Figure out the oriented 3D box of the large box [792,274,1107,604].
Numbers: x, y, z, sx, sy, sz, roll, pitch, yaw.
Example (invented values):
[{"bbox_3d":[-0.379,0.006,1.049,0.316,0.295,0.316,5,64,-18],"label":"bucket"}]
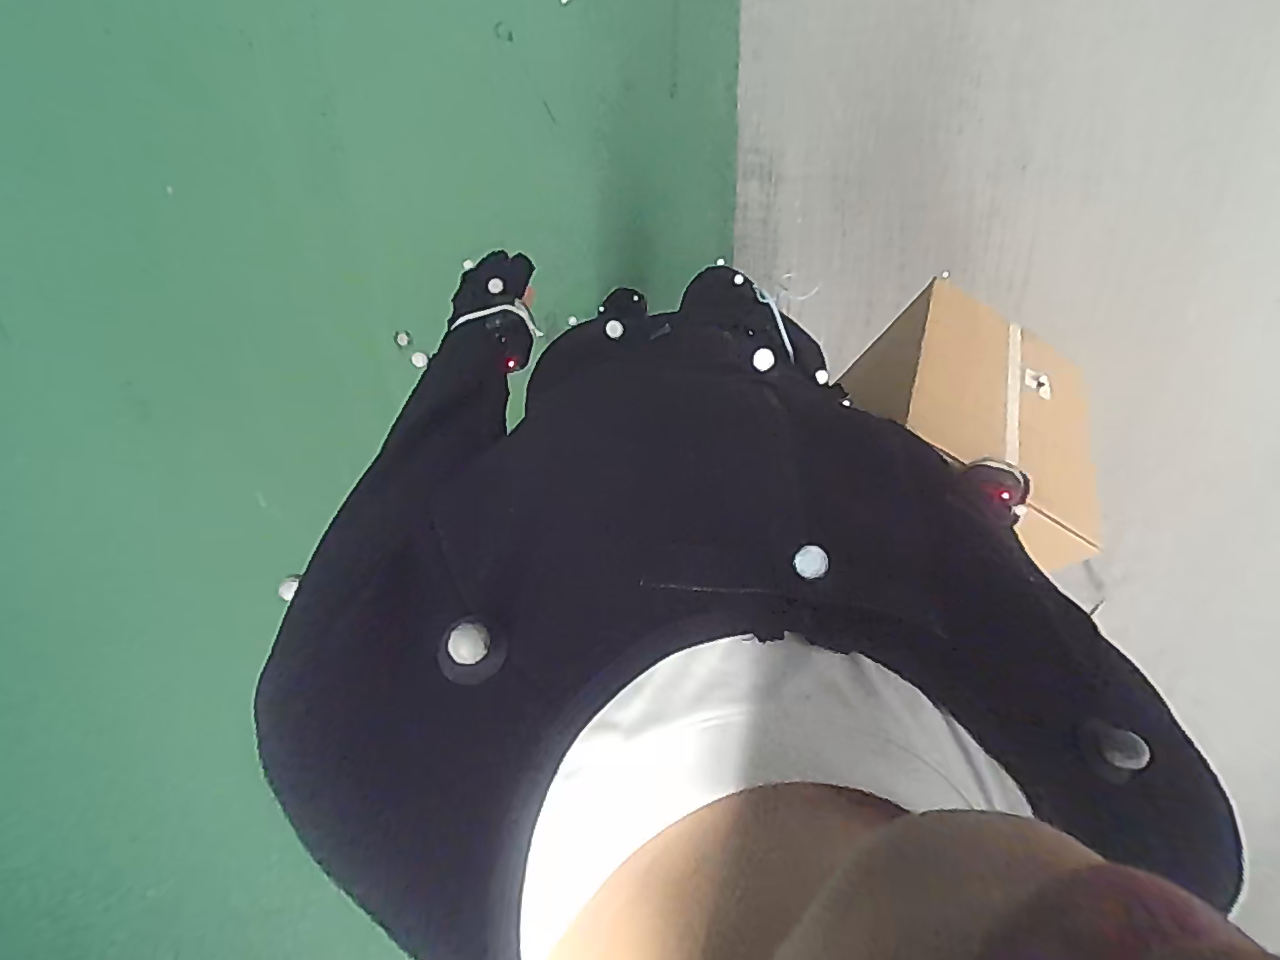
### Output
[{"bbox_3d":[0.509,-0.063,0.937,0.320,0.408,0.320,30,145,-2],"label":"large box"}]
